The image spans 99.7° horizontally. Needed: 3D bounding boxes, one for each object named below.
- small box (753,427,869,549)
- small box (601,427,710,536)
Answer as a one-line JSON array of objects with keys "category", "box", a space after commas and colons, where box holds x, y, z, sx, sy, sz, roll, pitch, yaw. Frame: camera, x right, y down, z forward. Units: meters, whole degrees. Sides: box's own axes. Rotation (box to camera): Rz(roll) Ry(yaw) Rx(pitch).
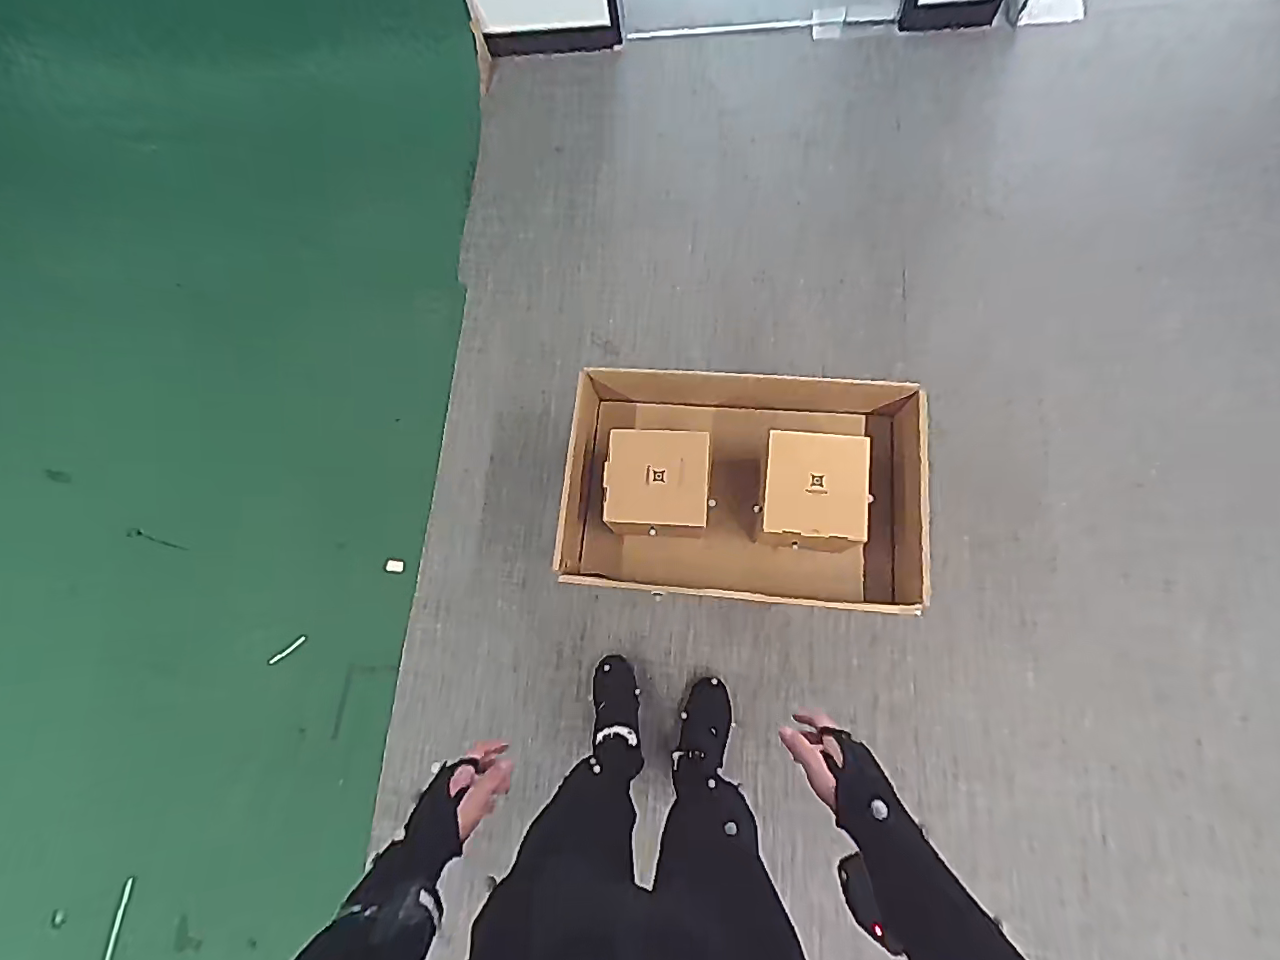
[{"category": "small box", "box": [0.296, 0.020, 0.962, 0.168, 0.176, 0.179, 5, 78, 7]}, {"category": "small box", "box": [0.035, 0.009, 0.995, 0.179, 0.176, 0.168, 4, 77, 6]}]
